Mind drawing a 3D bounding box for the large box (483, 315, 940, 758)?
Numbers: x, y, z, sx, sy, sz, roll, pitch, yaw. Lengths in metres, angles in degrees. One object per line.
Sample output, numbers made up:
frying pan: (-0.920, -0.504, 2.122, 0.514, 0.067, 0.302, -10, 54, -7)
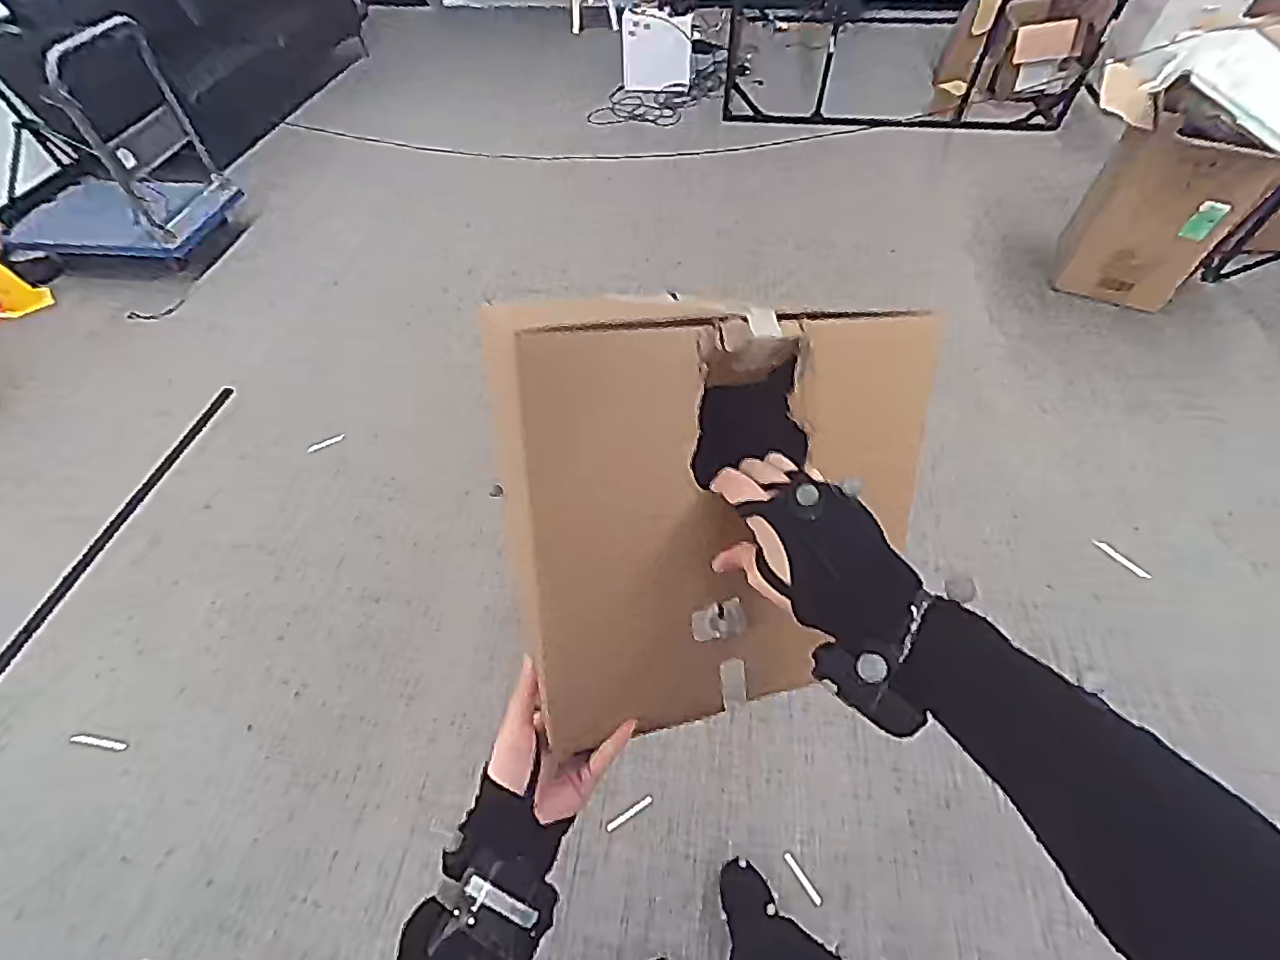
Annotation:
large box: (0.022, -0.006, 0.572, 0.320, 0.320, 0.408, -6, 18, -17)
